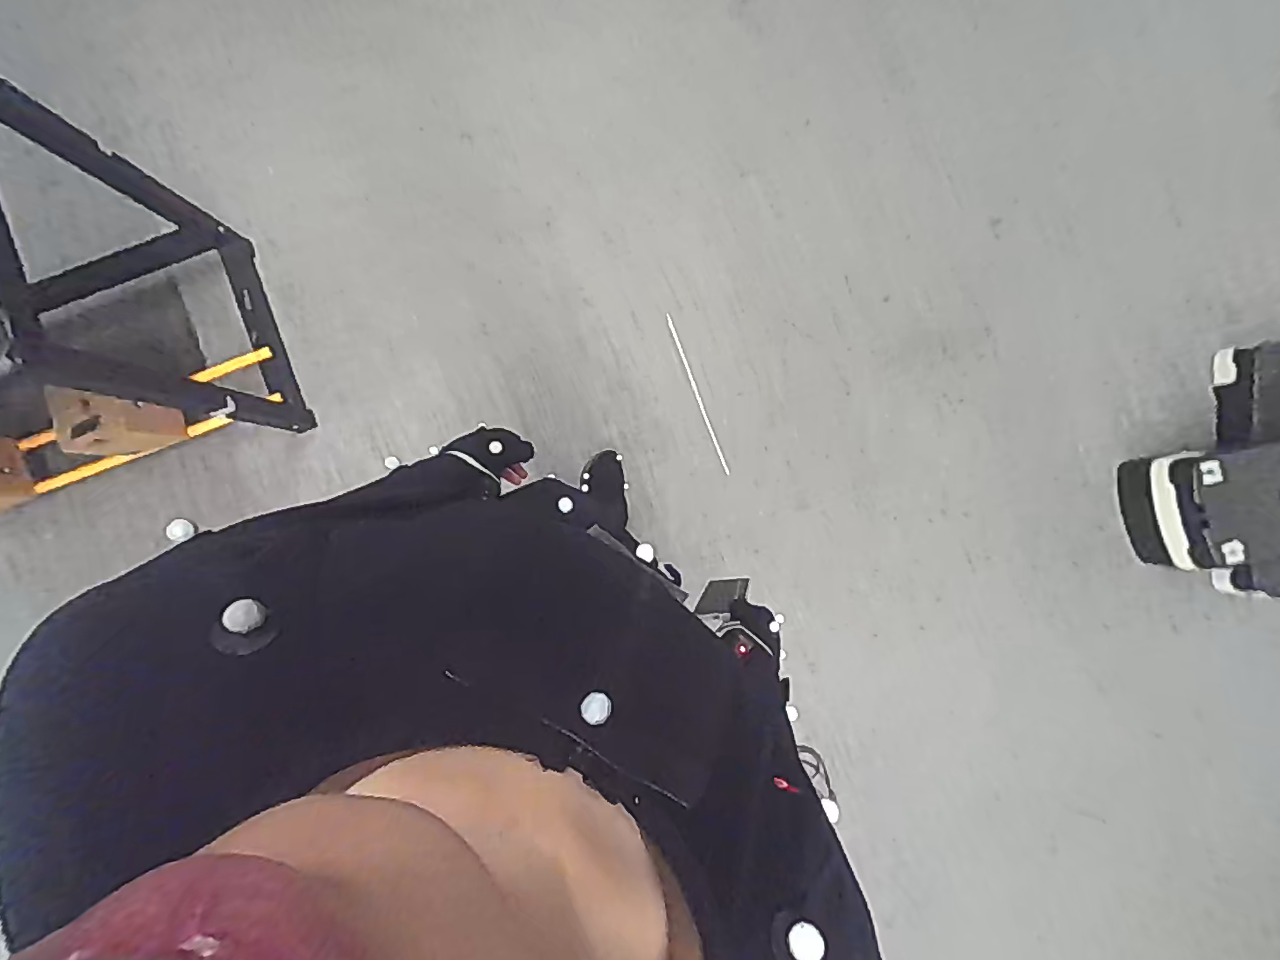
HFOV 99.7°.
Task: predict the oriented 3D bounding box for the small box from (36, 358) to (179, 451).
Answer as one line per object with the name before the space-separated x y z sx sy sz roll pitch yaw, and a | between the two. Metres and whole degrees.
small box | -1.279 -0.173 1.314 0.168 0.176 0.179 -17 88 -1
